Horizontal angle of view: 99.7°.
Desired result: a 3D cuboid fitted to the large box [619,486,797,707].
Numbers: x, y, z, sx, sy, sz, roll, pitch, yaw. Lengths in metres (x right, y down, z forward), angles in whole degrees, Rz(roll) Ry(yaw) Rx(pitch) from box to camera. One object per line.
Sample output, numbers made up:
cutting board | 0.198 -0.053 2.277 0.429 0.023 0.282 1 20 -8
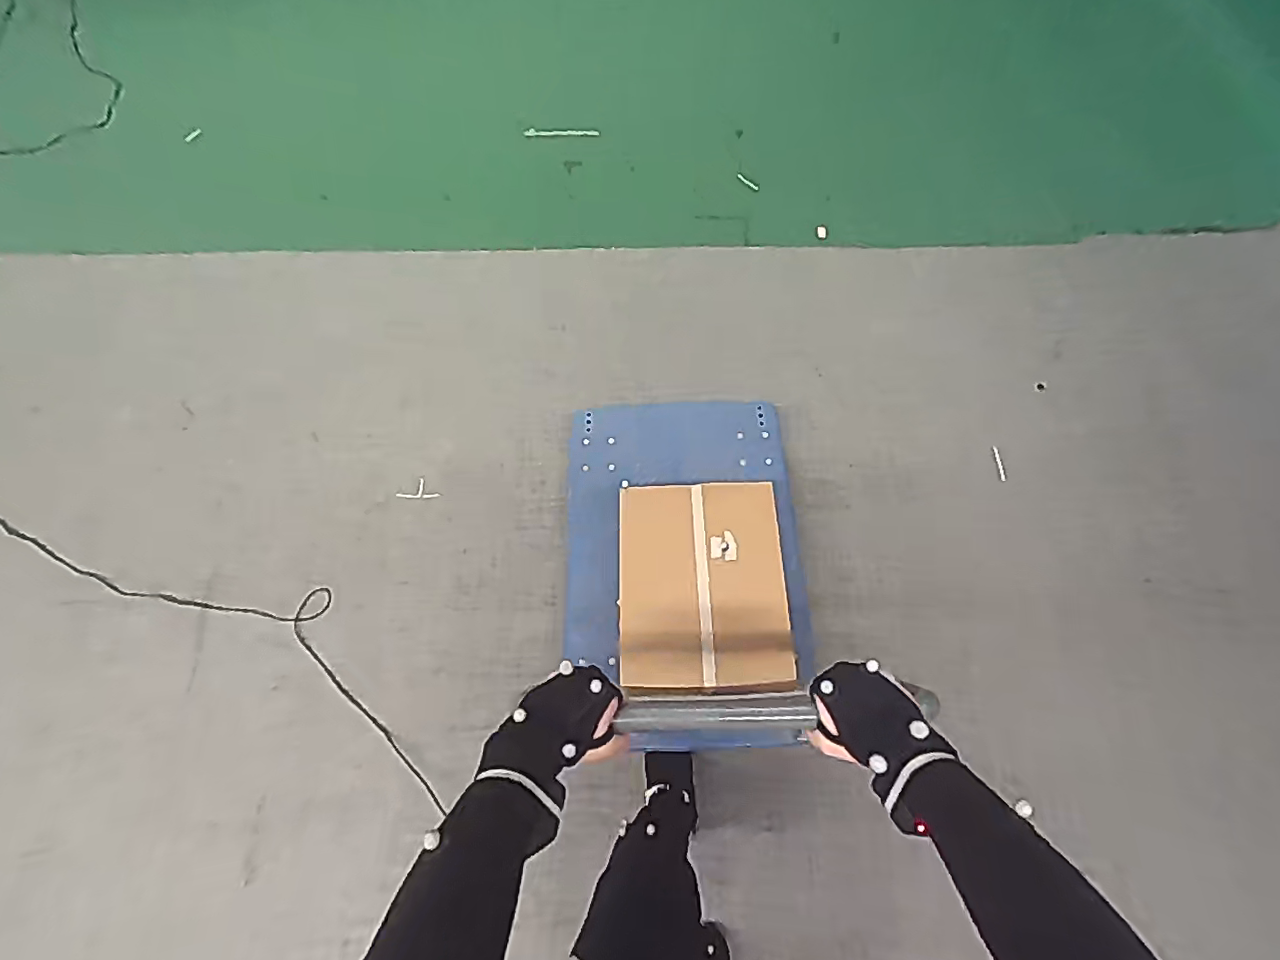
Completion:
large box | 0.124 0.261 1.164 0.320 0.320 0.408 -2 65 1
